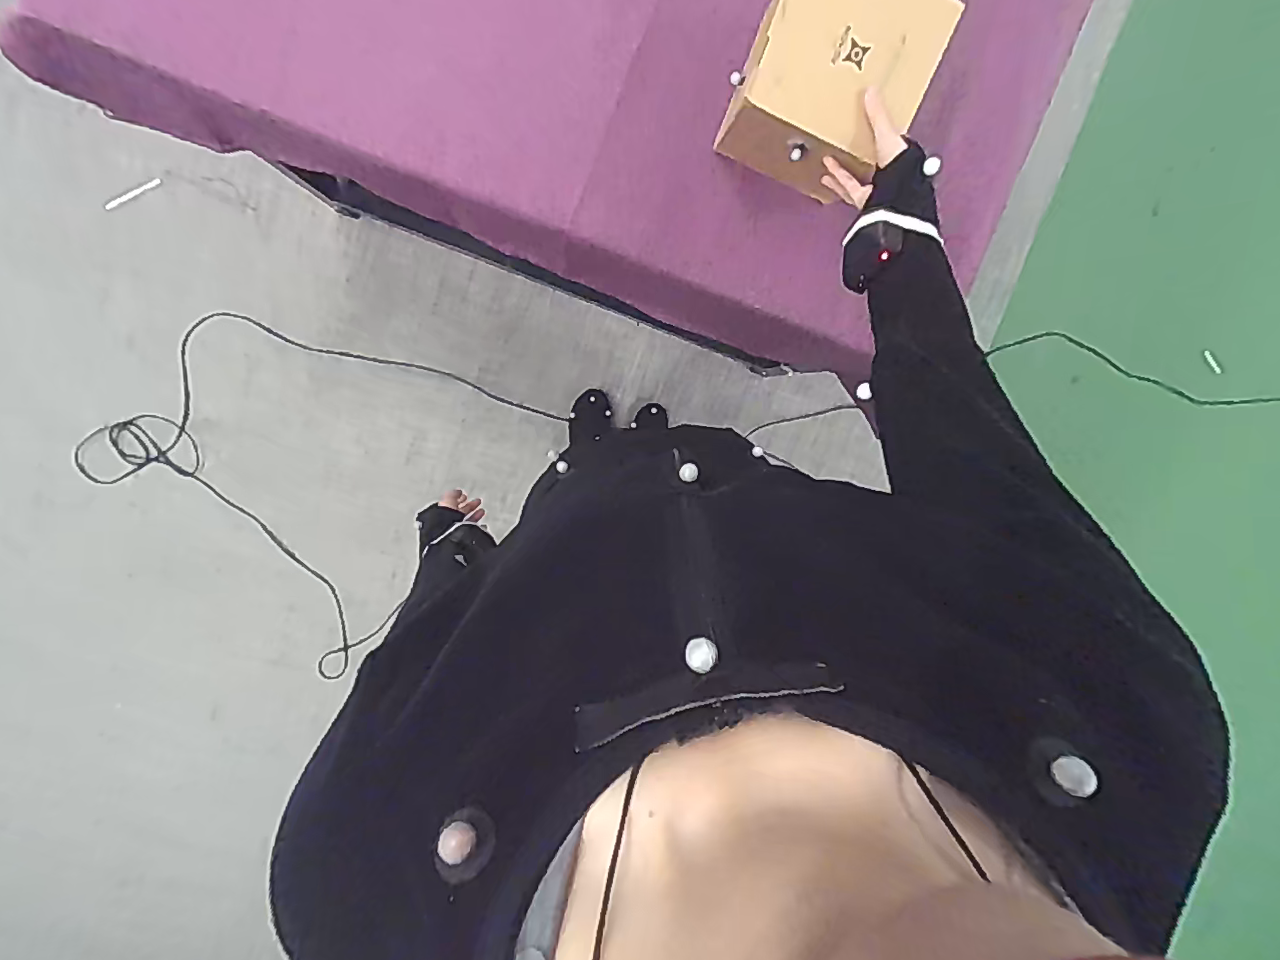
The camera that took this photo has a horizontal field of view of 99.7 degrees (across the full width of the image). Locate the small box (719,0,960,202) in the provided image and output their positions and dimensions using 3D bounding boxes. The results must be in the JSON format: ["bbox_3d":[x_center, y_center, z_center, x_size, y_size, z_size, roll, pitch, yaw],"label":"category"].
[{"bbox_3d":[0.211,-0.451,0.629,0.179,0.176,0.168,21,103,-9],"label":"small box"}]
